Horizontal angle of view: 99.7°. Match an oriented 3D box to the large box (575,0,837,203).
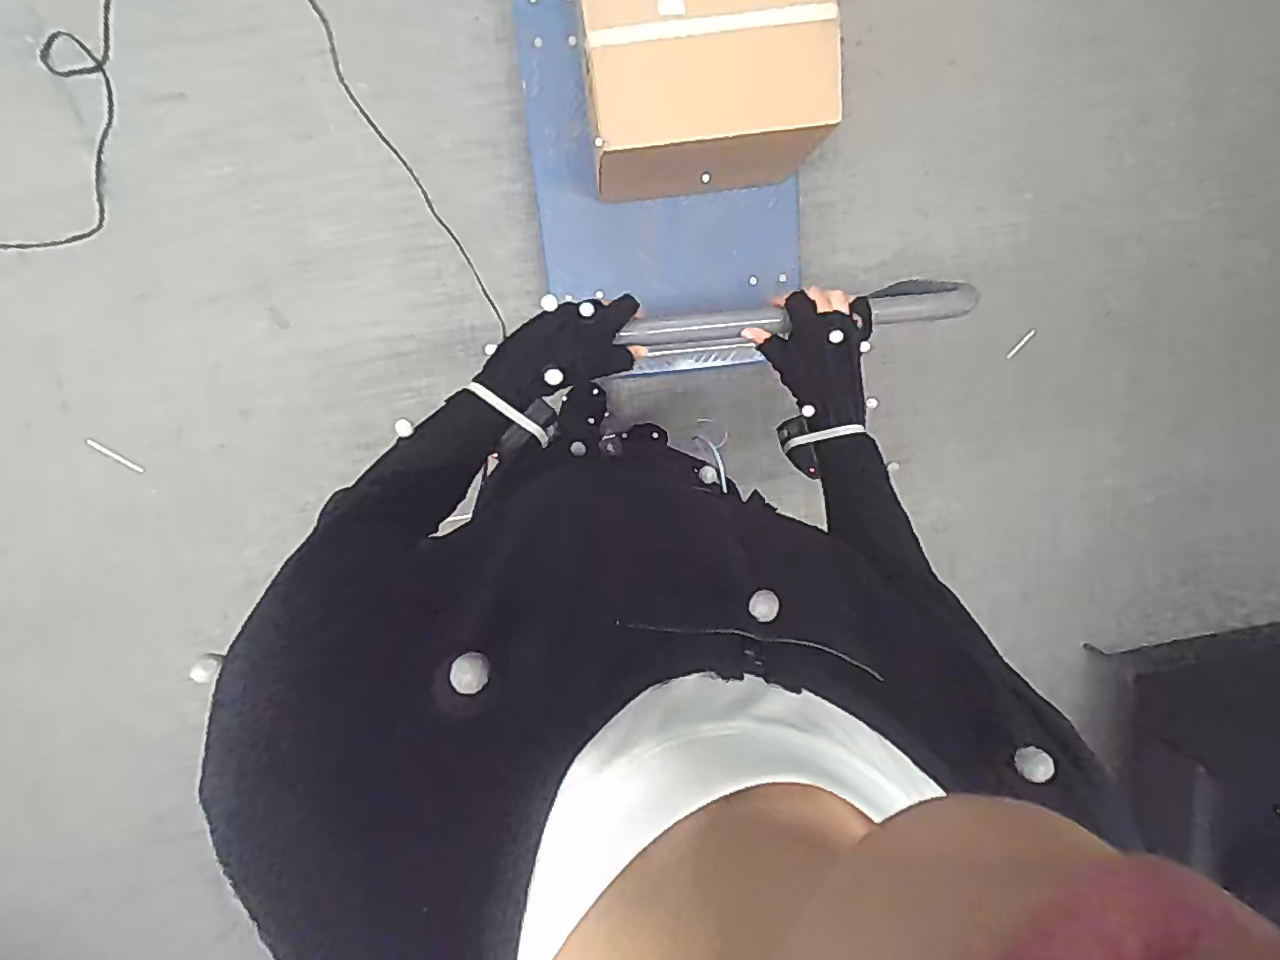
[{"bbox_3d":[0.104,-0.743,1.003,0.408,0.320,0.320,-8,102,-1],"label":"large box"}]
